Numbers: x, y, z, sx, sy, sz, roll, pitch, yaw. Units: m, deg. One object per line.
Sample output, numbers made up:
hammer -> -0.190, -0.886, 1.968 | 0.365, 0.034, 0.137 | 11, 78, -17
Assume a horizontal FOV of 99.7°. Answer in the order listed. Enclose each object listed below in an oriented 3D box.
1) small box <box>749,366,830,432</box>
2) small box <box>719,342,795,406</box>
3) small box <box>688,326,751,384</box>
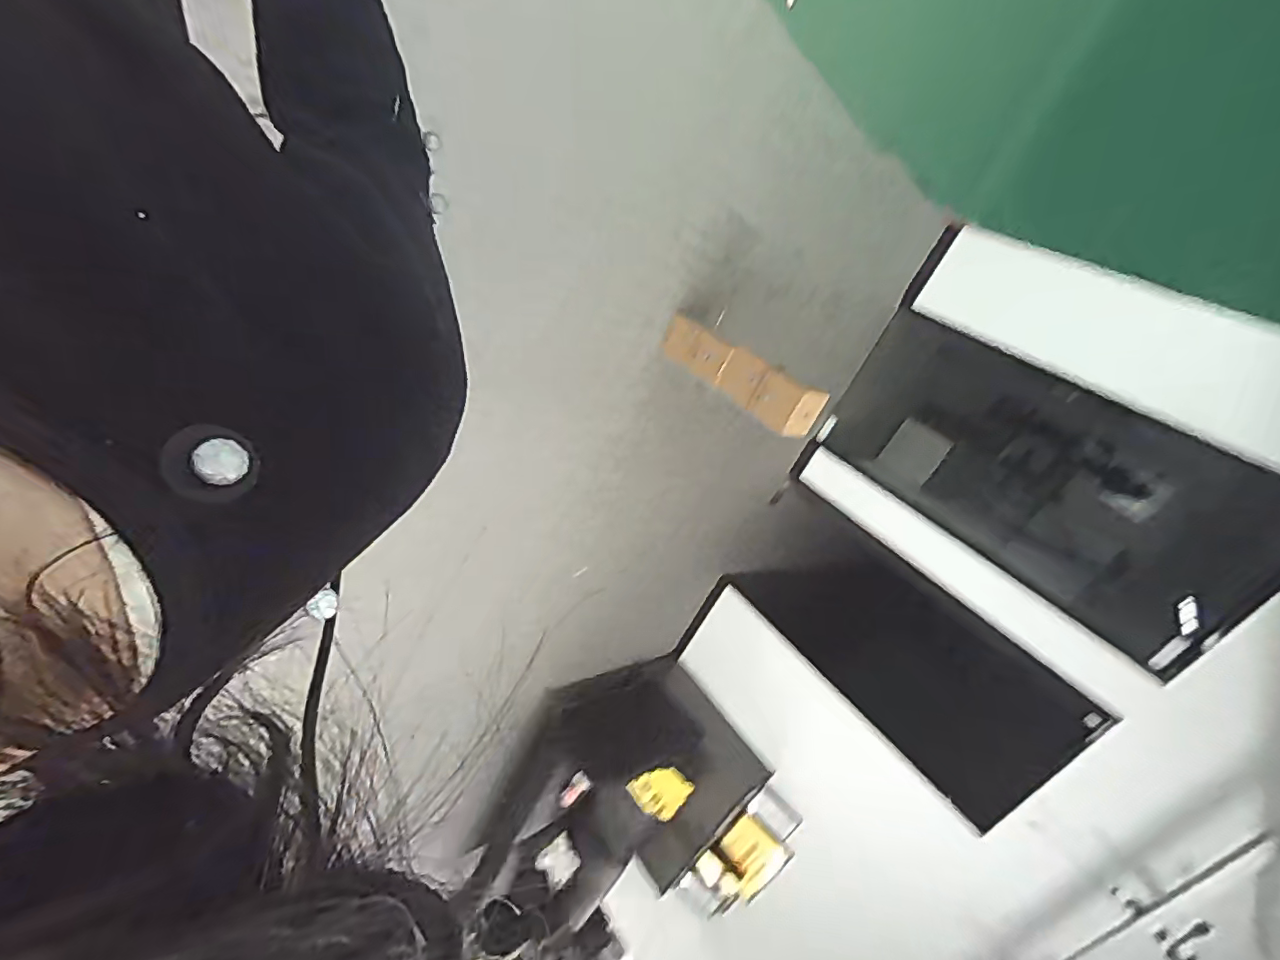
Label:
small box -> 0.514, -0.280, 1.866 | 0.179, 0.176, 0.168 | -2, 127, -46
small box -> 0.417, -0.378, 1.957 | 0.168, 0.176, 0.179 | -1, 127, -47
small box -> 0.312, -0.467, 2.048 | 0.179, 0.176, 0.168 | -1, 127, -46
